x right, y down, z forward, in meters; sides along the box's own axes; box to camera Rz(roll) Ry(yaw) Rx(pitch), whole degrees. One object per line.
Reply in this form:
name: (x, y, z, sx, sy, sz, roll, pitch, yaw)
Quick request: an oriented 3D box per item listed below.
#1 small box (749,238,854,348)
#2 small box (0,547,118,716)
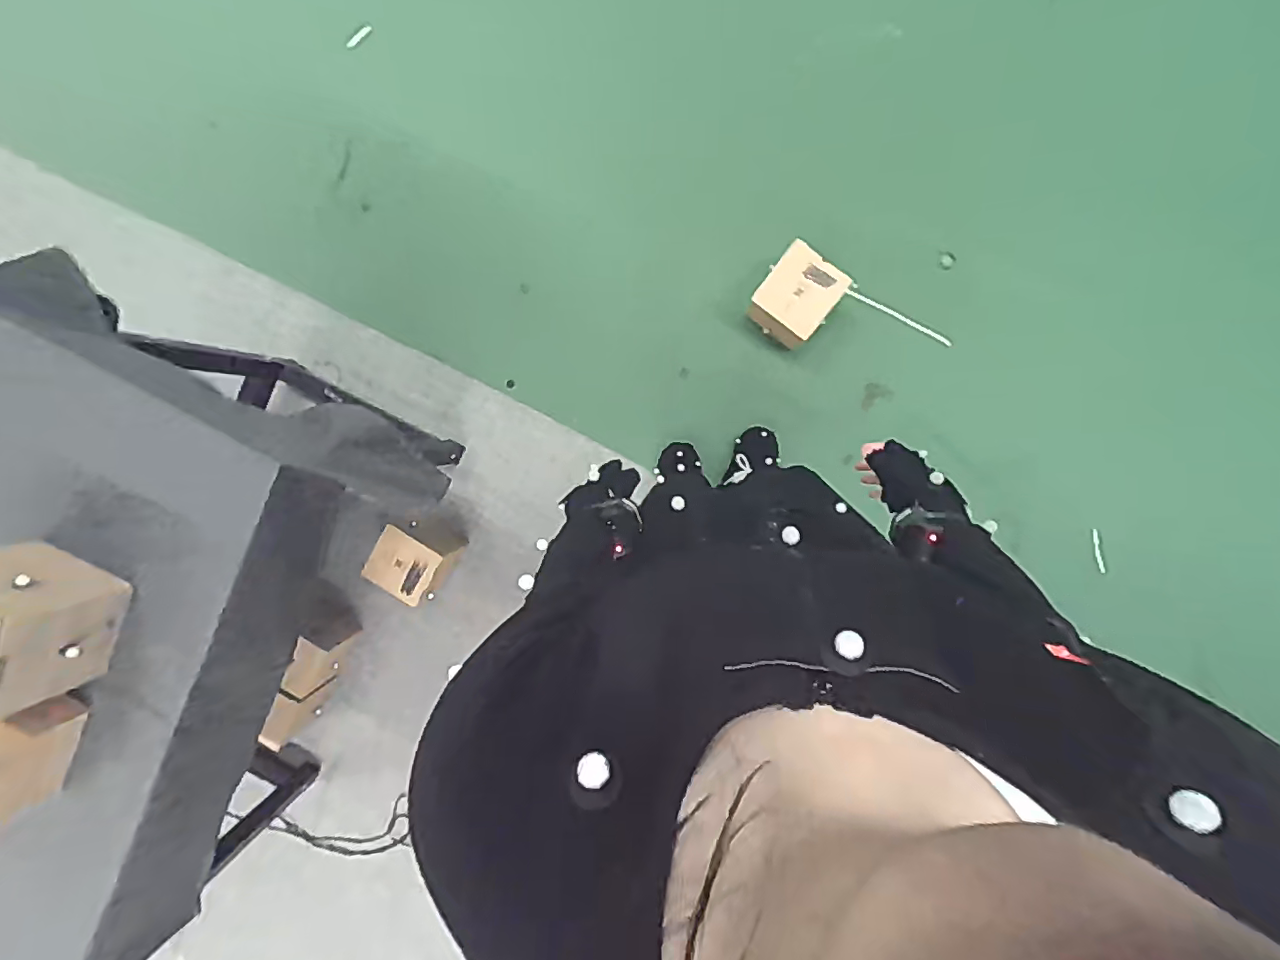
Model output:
small box: (0.385, -0.450, 1.331, 0.168, 0.176, 0.179, 38, 98, 1)
small box: (-0.909, 0.210, 0.763, 0.179, 0.176, 0.168, 24, 97, 1)
